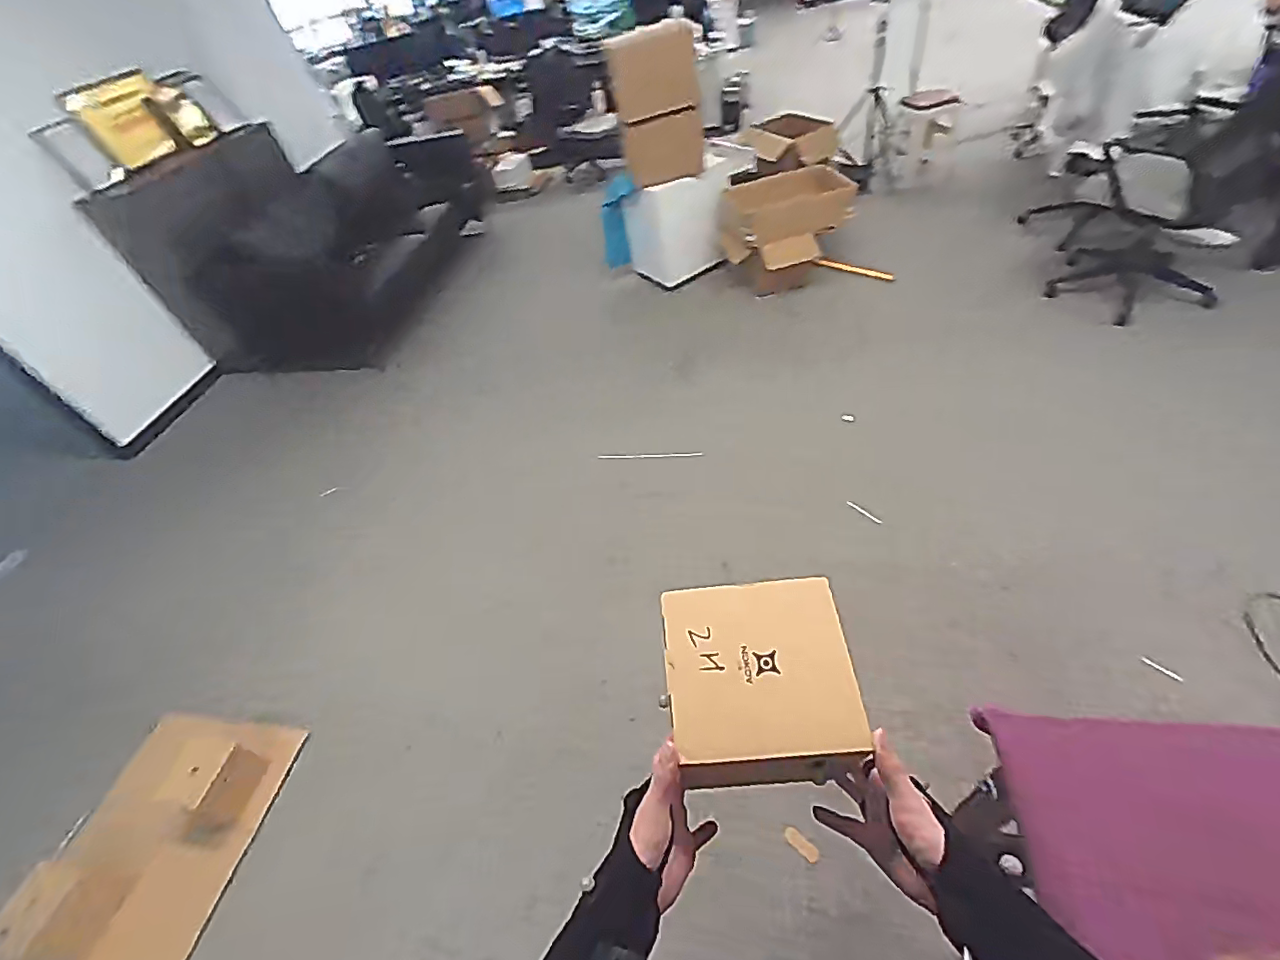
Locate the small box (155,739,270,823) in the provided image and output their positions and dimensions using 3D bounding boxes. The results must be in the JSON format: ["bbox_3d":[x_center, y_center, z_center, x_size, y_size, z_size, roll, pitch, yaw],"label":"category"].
[{"bbox_3d":[-1.266,0.903,1.618,0.168,0.176,0.179,1,48,14],"label":"small box"}]

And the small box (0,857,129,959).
[{"bbox_3d":[-1.535,1.149,1.443,0.168,0.176,0.179,7,49,19],"label":"small box"}]

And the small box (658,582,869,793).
[{"bbox_3d":[0.115,0.225,0.577,0.179,0.176,0.168,-7,52,3],"label":"small box"}]
